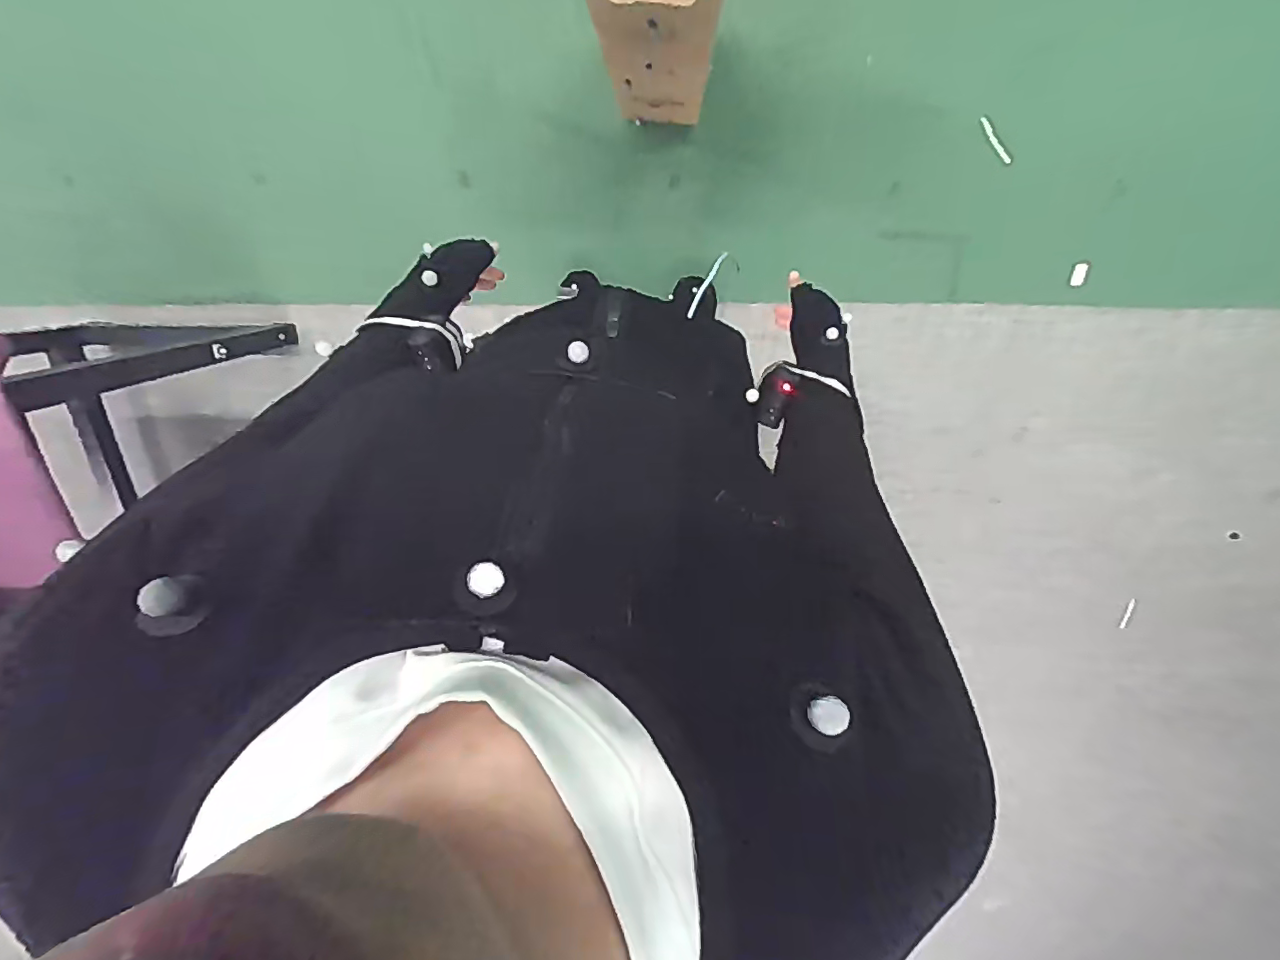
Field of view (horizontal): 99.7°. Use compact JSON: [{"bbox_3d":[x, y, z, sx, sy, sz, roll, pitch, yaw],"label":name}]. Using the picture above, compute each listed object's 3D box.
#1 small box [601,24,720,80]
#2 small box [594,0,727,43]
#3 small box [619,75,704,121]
[{"bbox_3d":[0.034,-0.717,0.788,0.168,0.176,0.179,3,113,1],"label":"small box"},{"bbox_3d":[0.026,-0.656,0.635,0.168,0.176,0.179,4,113,1],"label":"small box"},{"bbox_3d":[0.048,-0.841,1.091,0.168,0.176,0.179,2,115,2],"label":"small box"}]
